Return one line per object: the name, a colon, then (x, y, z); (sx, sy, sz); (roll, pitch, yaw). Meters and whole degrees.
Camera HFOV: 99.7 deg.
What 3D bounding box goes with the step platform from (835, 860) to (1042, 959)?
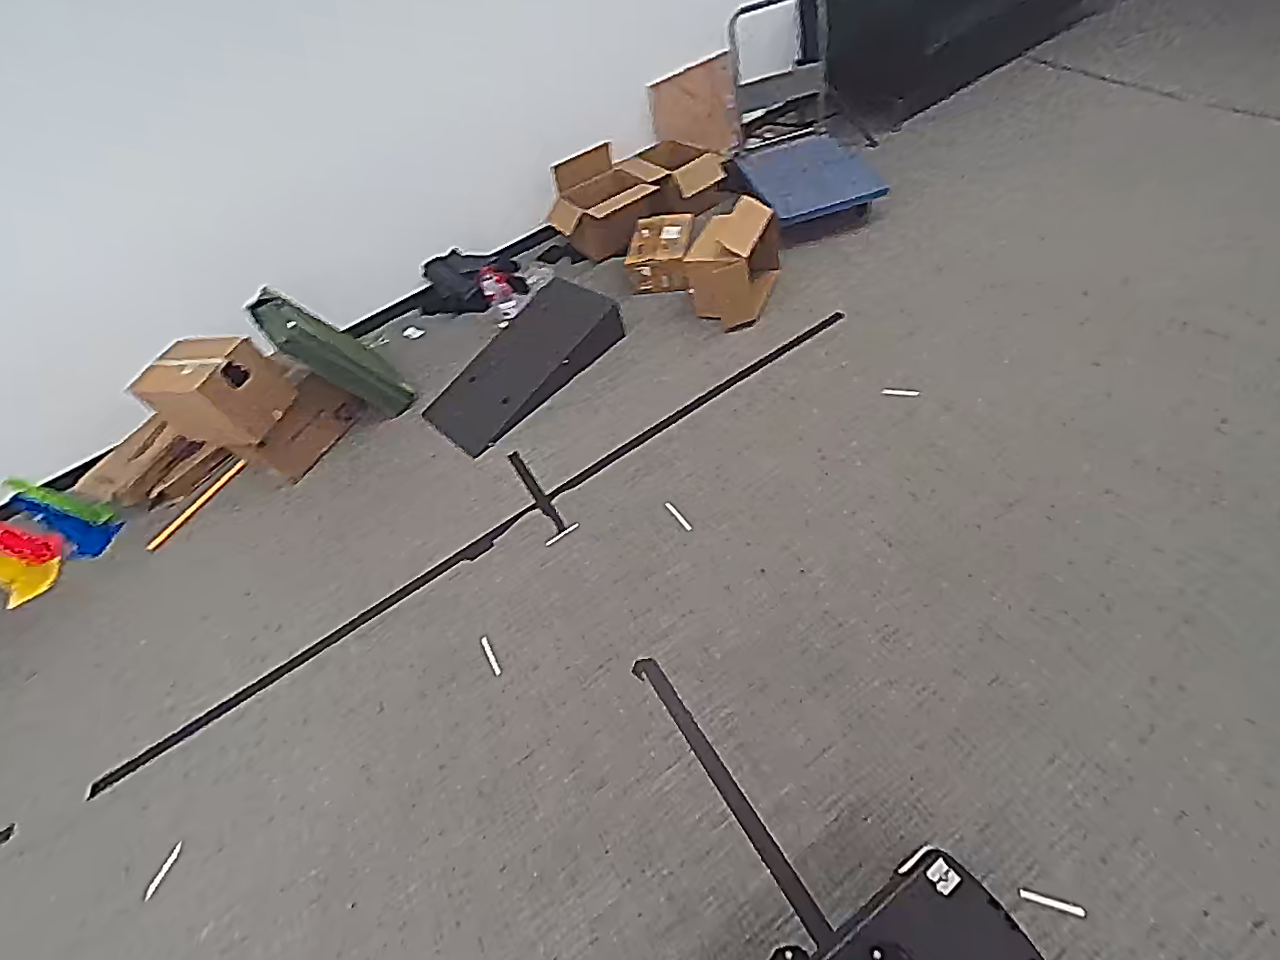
step platform: (0.461, 1.078, 1.029); (0.684, 0.204, 0.286); (-33, 52, -13)
